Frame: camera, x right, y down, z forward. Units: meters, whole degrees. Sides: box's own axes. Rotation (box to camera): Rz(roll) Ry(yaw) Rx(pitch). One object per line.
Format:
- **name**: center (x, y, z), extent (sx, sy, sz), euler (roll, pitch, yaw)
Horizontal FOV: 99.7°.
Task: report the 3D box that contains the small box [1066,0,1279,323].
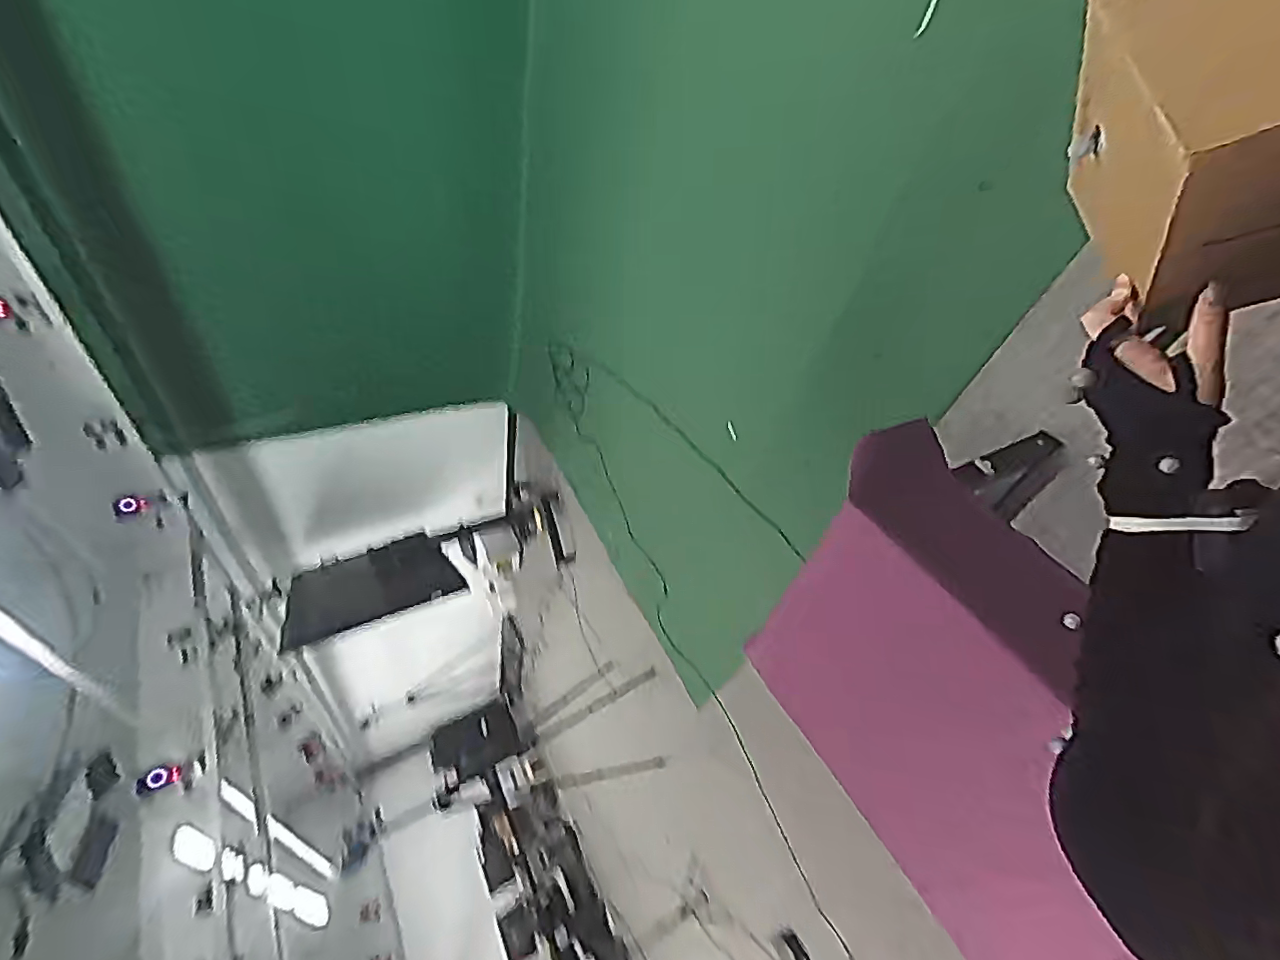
- **small box**: center (0.417, -0.240, 0.355), extent (0.179, 0.168, 0.176), euler (-9, 63, 28)
